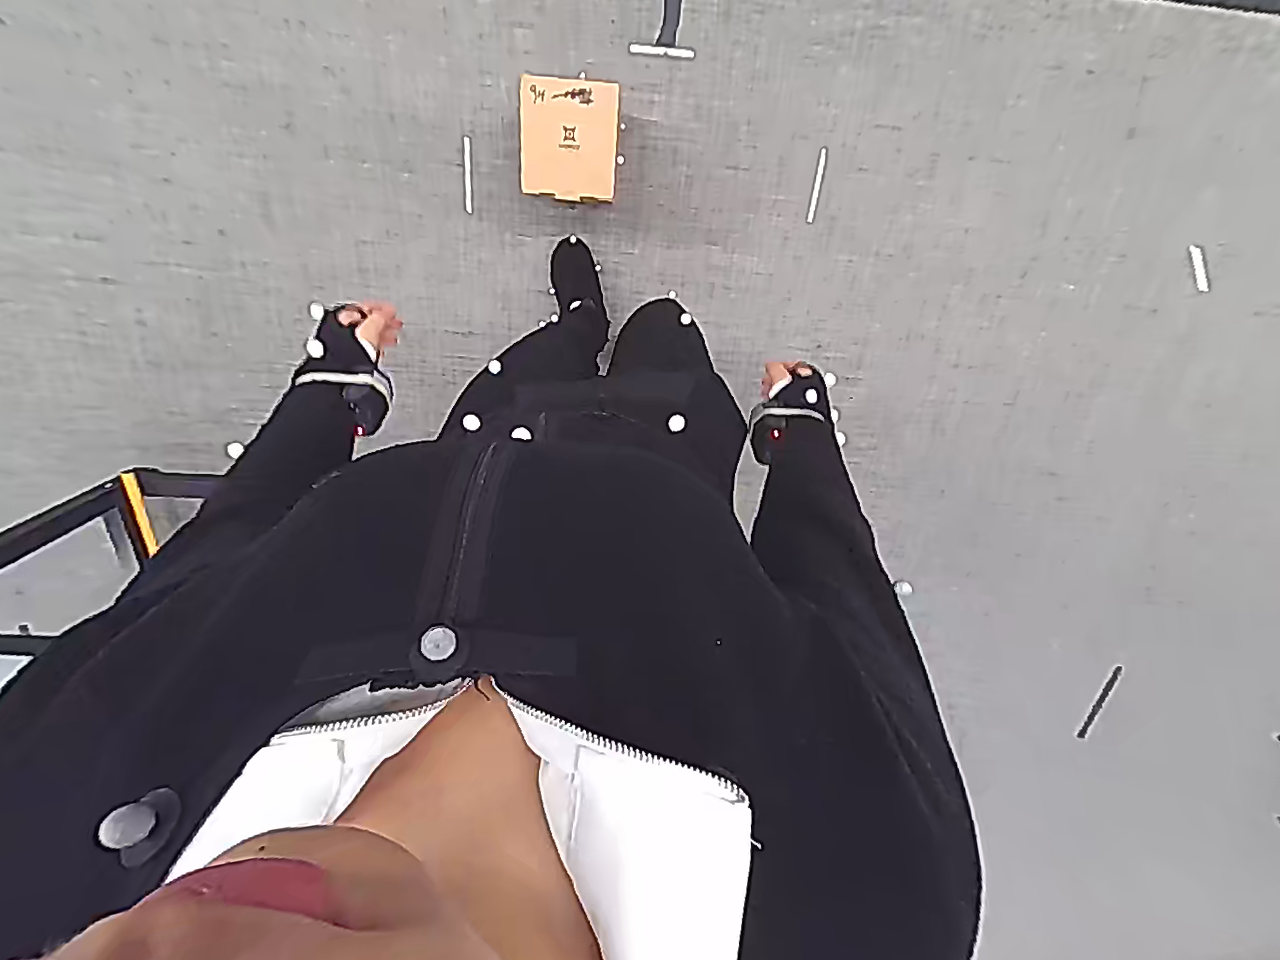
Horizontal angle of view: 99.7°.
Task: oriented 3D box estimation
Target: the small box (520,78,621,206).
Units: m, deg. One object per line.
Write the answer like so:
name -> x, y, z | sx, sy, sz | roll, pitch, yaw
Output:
small box -> -0.123, -0.609, 0.996 | 0.168, 0.176, 0.179 | 4, 115, -3
